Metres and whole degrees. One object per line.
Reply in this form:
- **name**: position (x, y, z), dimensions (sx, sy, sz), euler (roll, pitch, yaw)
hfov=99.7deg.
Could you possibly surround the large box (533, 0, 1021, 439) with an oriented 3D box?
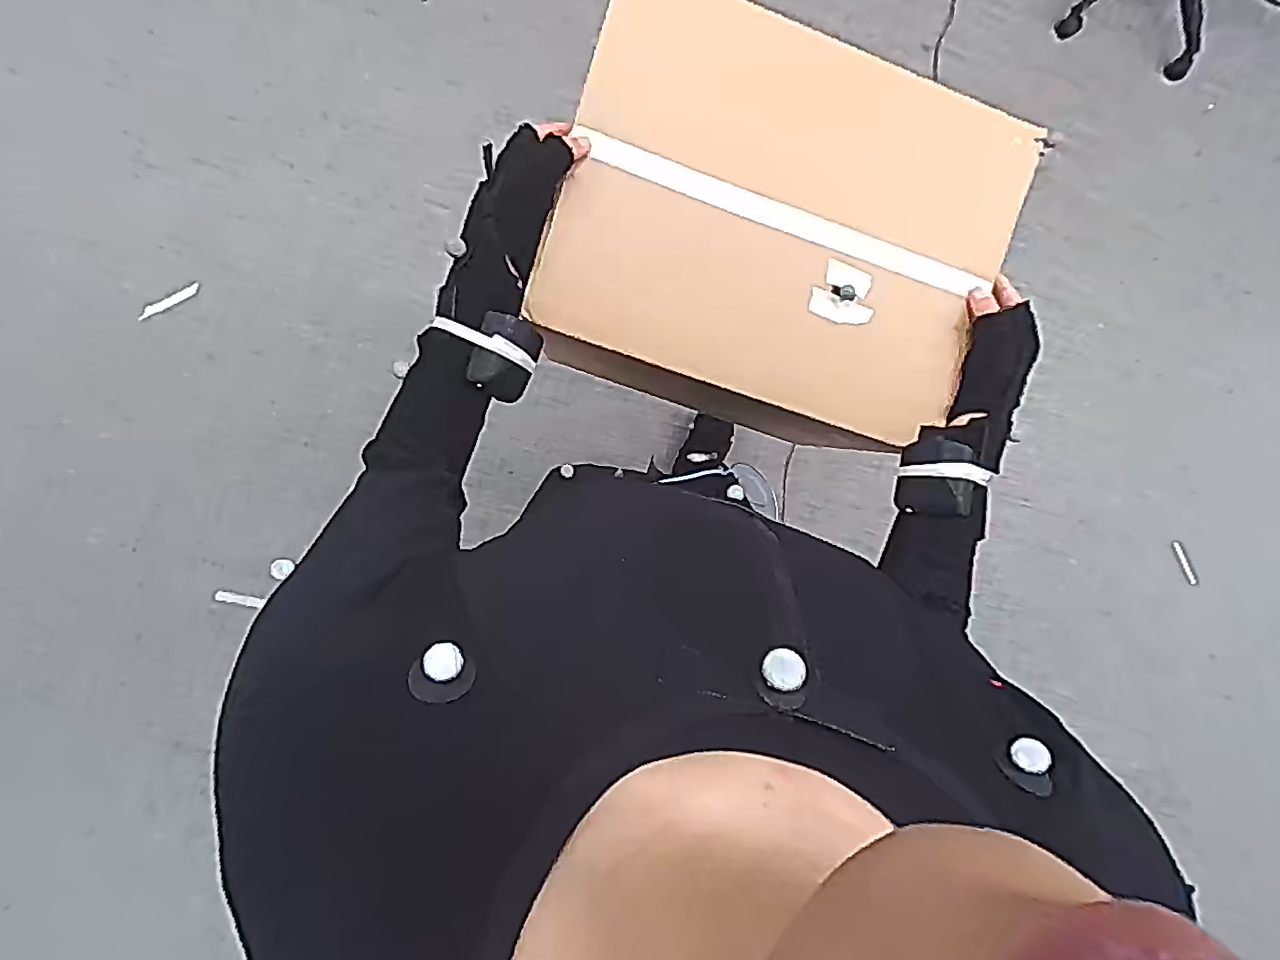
- **large box**: position (0.114, -0.254, 0.642), dimensions (0.408, 0.320, 0.320), euler (17, 95, -9)
